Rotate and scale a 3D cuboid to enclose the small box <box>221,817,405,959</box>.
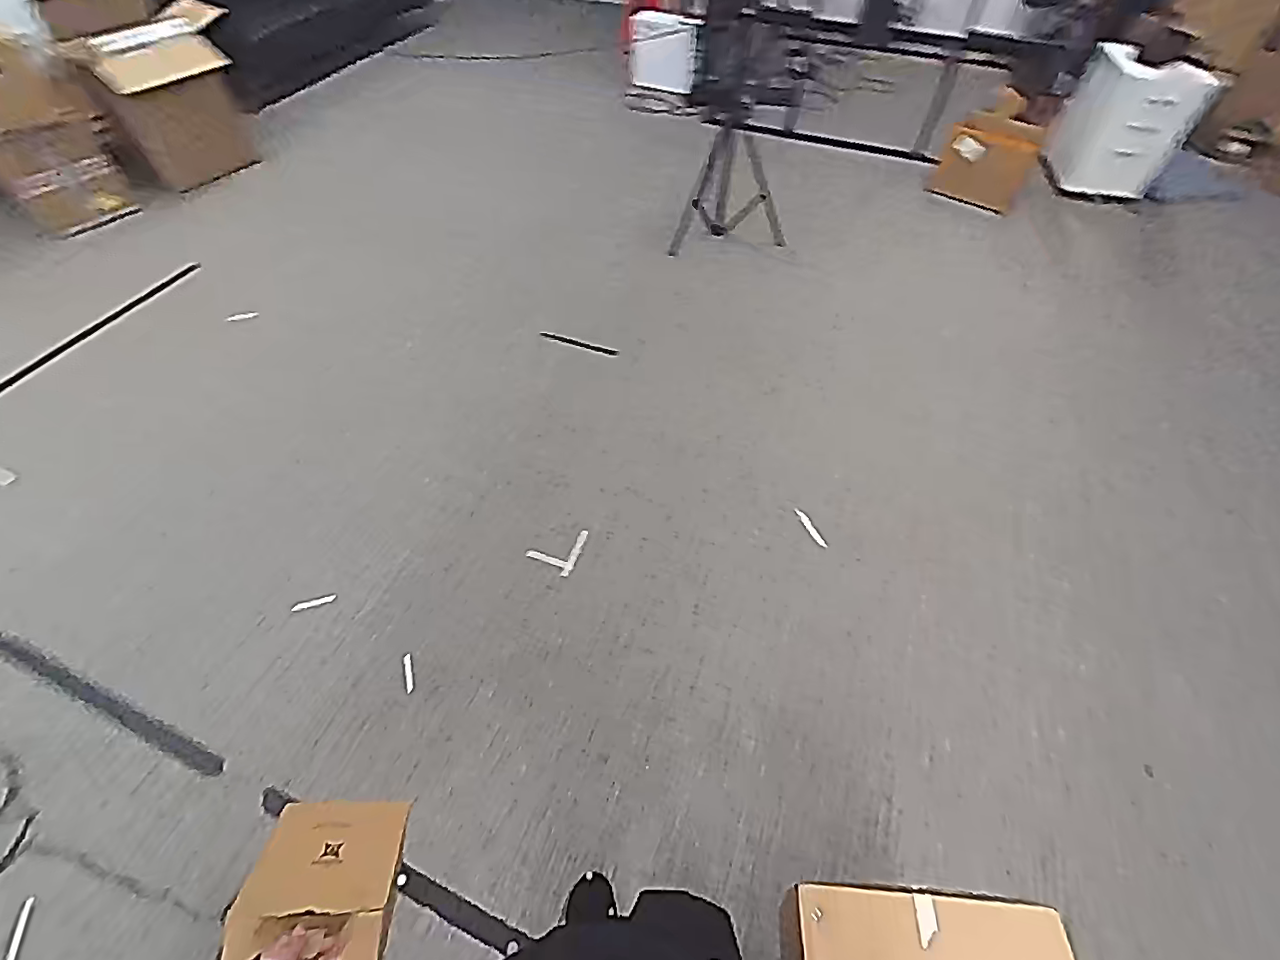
[{"bbox_3d":[-0.418,0.583,0.708,0.168,0.179,0.176,9,96,-16],"label":"small box"}]
